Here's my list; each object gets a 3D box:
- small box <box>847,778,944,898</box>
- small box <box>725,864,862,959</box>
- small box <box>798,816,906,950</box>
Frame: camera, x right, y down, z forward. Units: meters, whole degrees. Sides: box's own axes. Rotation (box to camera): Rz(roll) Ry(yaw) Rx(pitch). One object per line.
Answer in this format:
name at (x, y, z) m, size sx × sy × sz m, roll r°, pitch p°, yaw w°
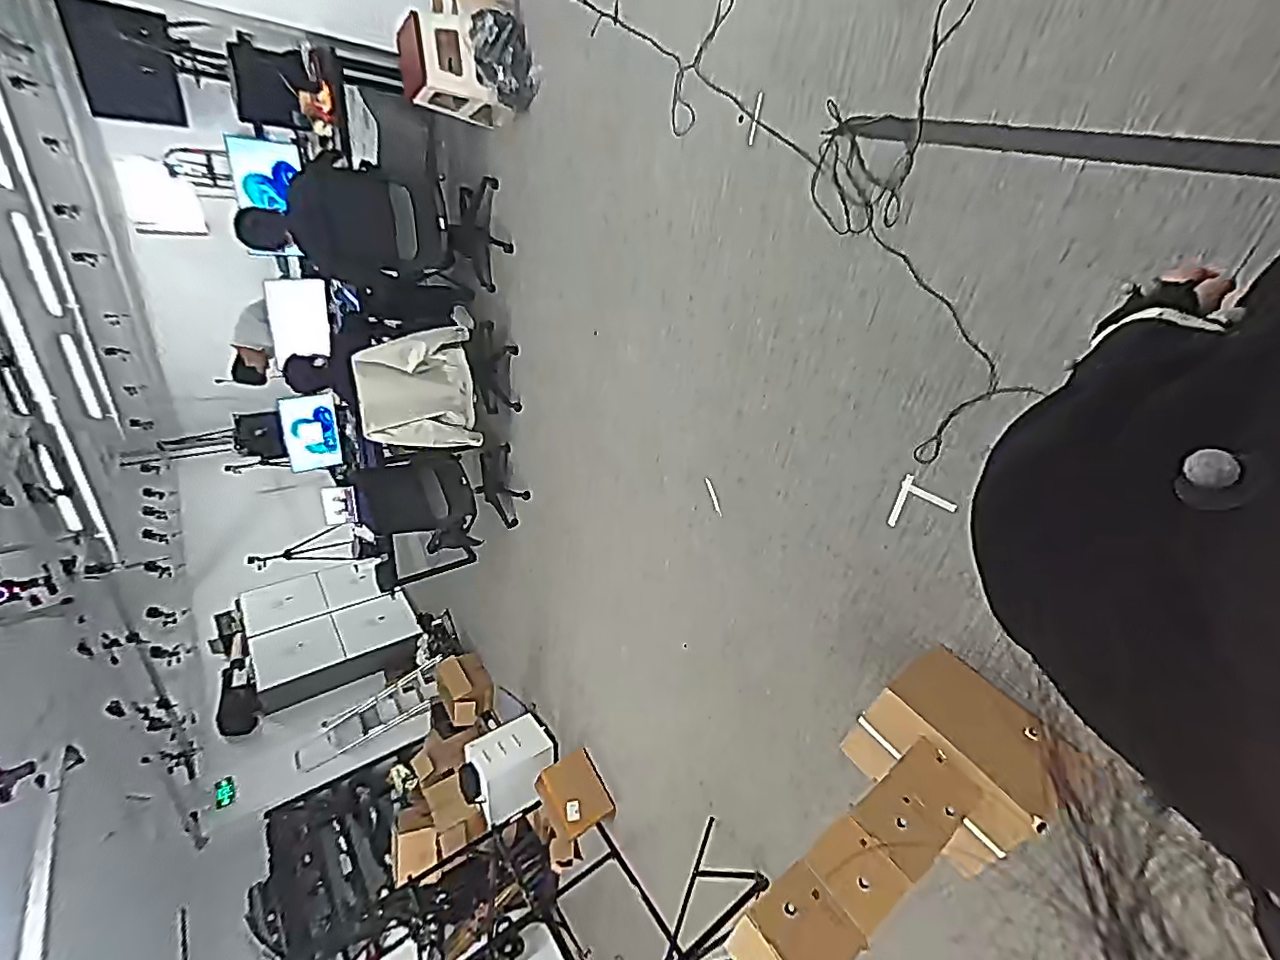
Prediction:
small box at (0.552, 0.821, 1.225) m, size 0.168 × 0.176 × 0.179 m, roll 43°, pitch 133°, yaw 37°
small box at (0.295, 0.892, 1.039) m, size 0.168 × 0.176 × 0.179 m, roll 41°, pitch 135°, yaw 39°
small box at (0.423, 0.852, 1.130) m, size 0.168 × 0.176 × 0.179 m, roll 41°, pitch 133°, yaw 38°
